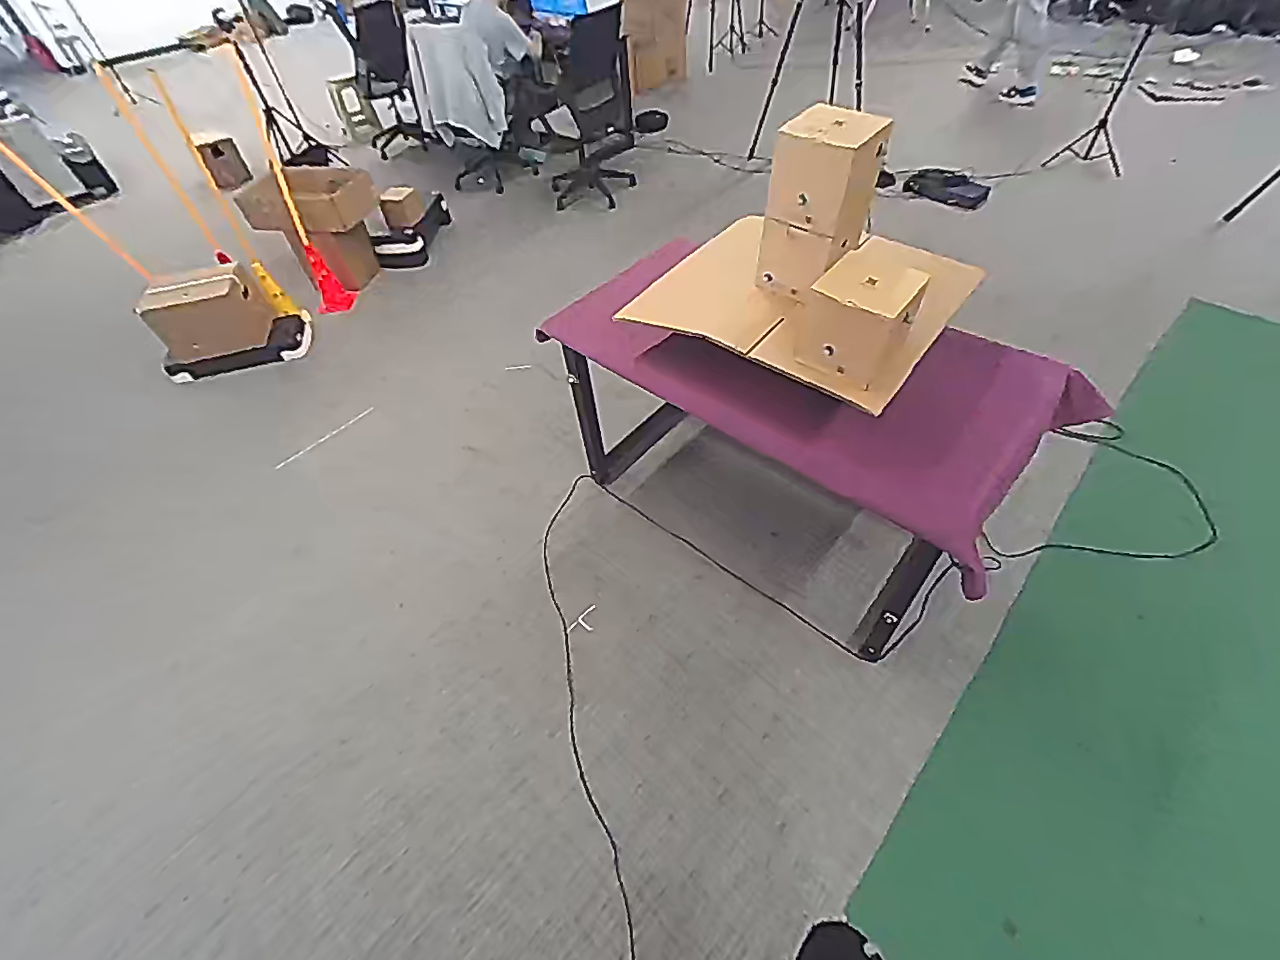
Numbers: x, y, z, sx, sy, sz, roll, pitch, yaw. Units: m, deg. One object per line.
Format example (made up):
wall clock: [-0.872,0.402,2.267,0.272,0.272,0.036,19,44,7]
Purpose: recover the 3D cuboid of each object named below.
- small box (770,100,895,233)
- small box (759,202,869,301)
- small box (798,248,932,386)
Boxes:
small box: [0.384,-0.641,1.108,0.168,0.176,0.179,32,61,24]
small box: [0.389,-0.538,1.236,0.168,0.176,0.179,32,59,24]
small box: [0.433,-0.320,1.066,0.168,0.176,0.179,32,61,25]
